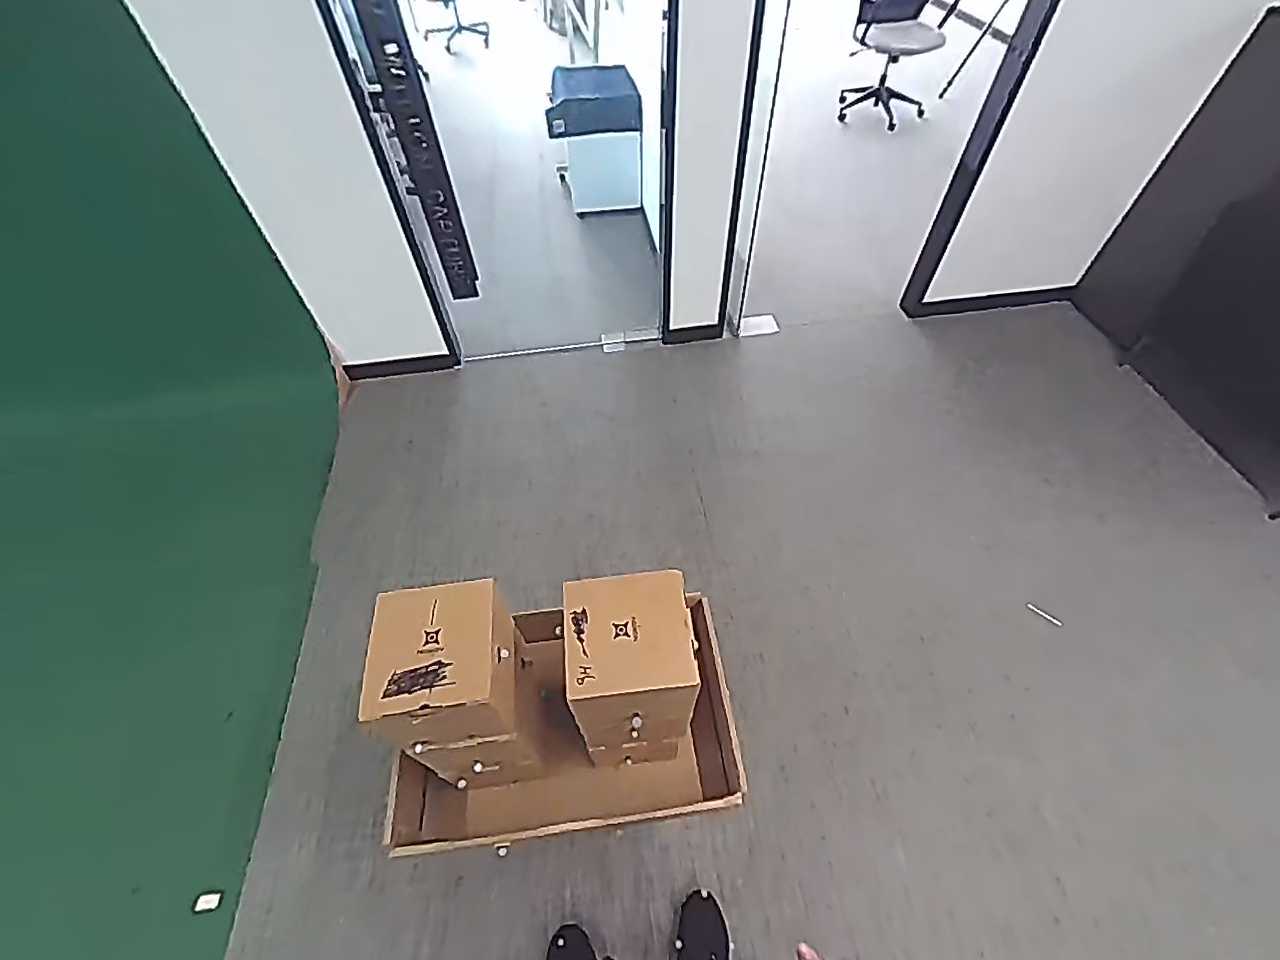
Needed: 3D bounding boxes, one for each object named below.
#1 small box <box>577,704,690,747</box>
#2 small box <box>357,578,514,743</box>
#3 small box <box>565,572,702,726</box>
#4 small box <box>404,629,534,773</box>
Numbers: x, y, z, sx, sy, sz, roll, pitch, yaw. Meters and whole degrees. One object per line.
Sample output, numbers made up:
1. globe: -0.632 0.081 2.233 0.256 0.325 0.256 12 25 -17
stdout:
1. small box: -0.015 0.348 0.927 0.179 0.176 0.168 -4 54 -4
2. small box: -0.277 0.265 0.779 0.168 0.176 0.179 -6 52 -6
3. small box: -0.015 0.251 0.795 0.179 0.176 0.168 -4 54 -4
4. small box: -0.273 0.371 0.905 0.168 0.176 0.179 -5 52 -4
